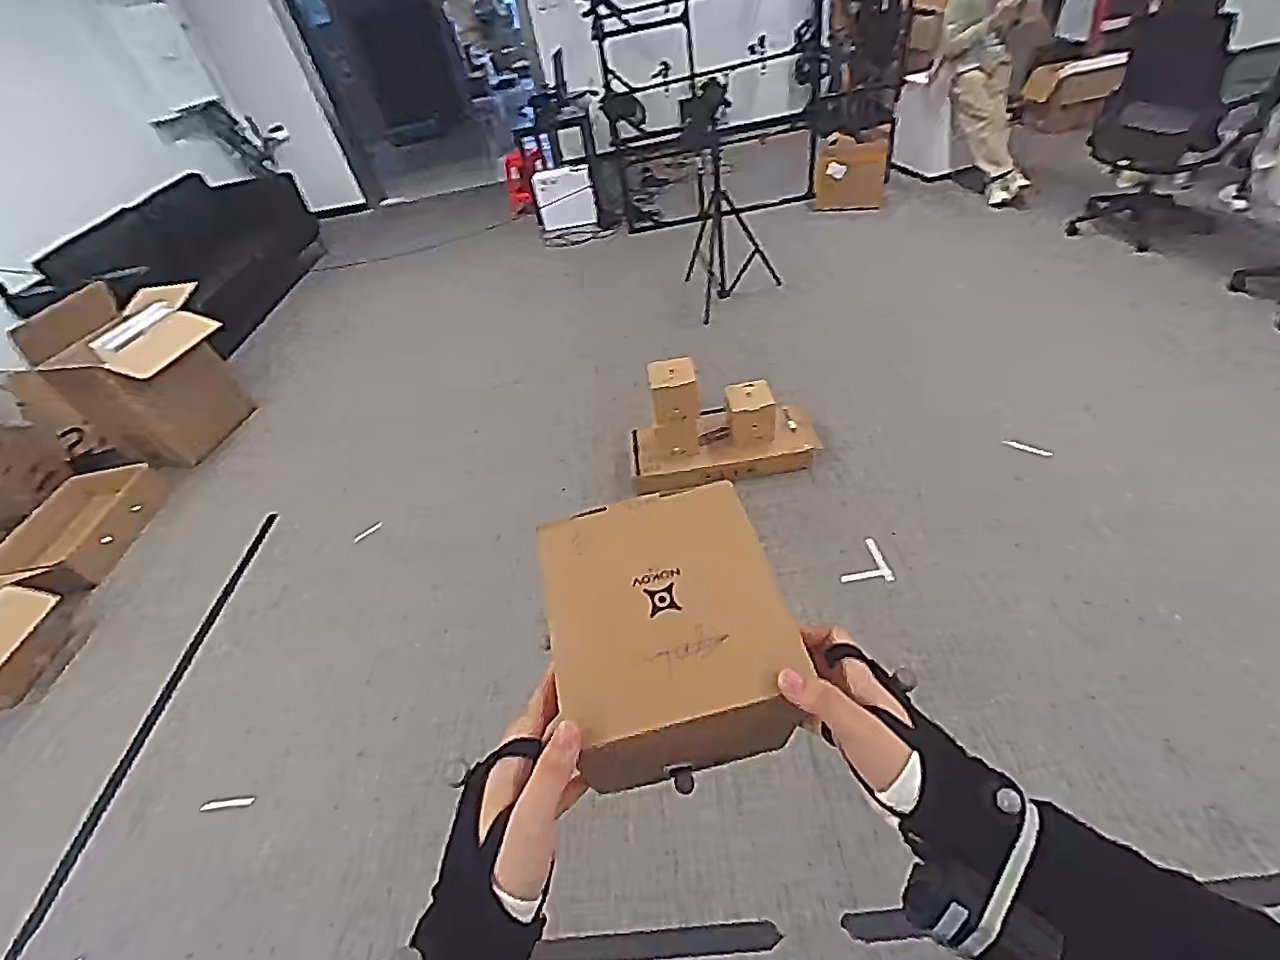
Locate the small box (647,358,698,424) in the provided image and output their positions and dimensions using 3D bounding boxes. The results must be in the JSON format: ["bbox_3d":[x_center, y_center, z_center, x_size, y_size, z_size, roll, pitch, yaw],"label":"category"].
[{"bbox_3d":[0.121,-0.334,2.029,0.168,0.176,0.179,-9,43,4],"label":"small box"}]

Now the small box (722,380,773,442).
[{"bbox_3d":[0.423,-0.263,2.127,0.168,0.176,0.179,-10,43,3],"label":"small box"}]

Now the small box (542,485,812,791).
[{"bbox_3d":[0.020,0.134,0.455,0.168,0.176,0.179,-13,52,-4],"label":"small box"}]

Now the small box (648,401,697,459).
[{"bbox_3d":[0.128,-0.207,2.137,0.168,0.176,0.179,-10,44,2],"label":"small box"}]
